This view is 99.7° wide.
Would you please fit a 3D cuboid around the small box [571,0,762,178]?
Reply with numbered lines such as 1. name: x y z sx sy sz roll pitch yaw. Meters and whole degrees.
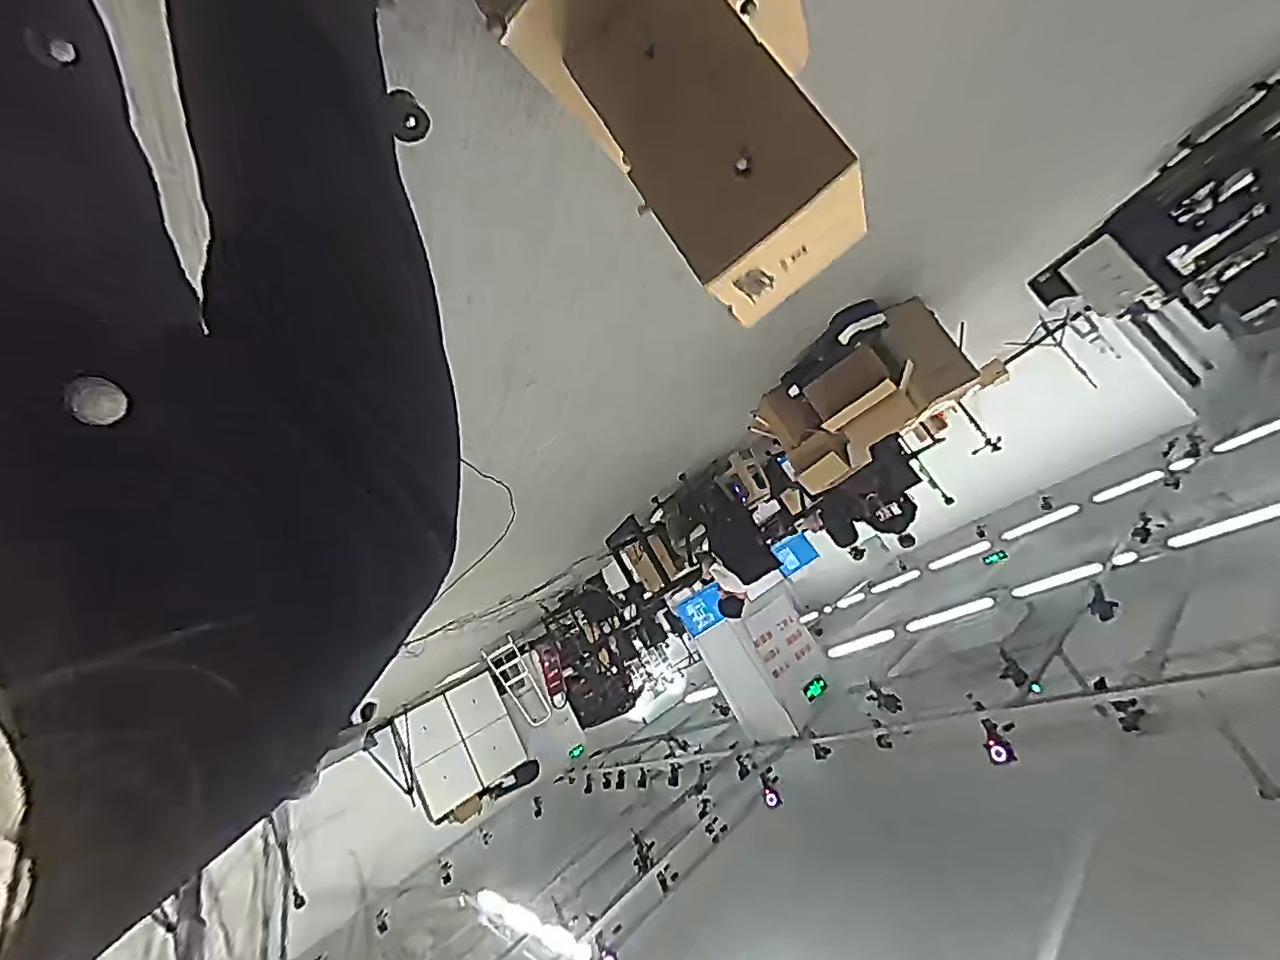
1. small box: 0.051 -0.449 0.642 0.168 0.176 0.179 -40 164 26

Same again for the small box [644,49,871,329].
1. small box: 0.126 -0.306 0.600 0.179 0.176 0.168 -38 165 21
